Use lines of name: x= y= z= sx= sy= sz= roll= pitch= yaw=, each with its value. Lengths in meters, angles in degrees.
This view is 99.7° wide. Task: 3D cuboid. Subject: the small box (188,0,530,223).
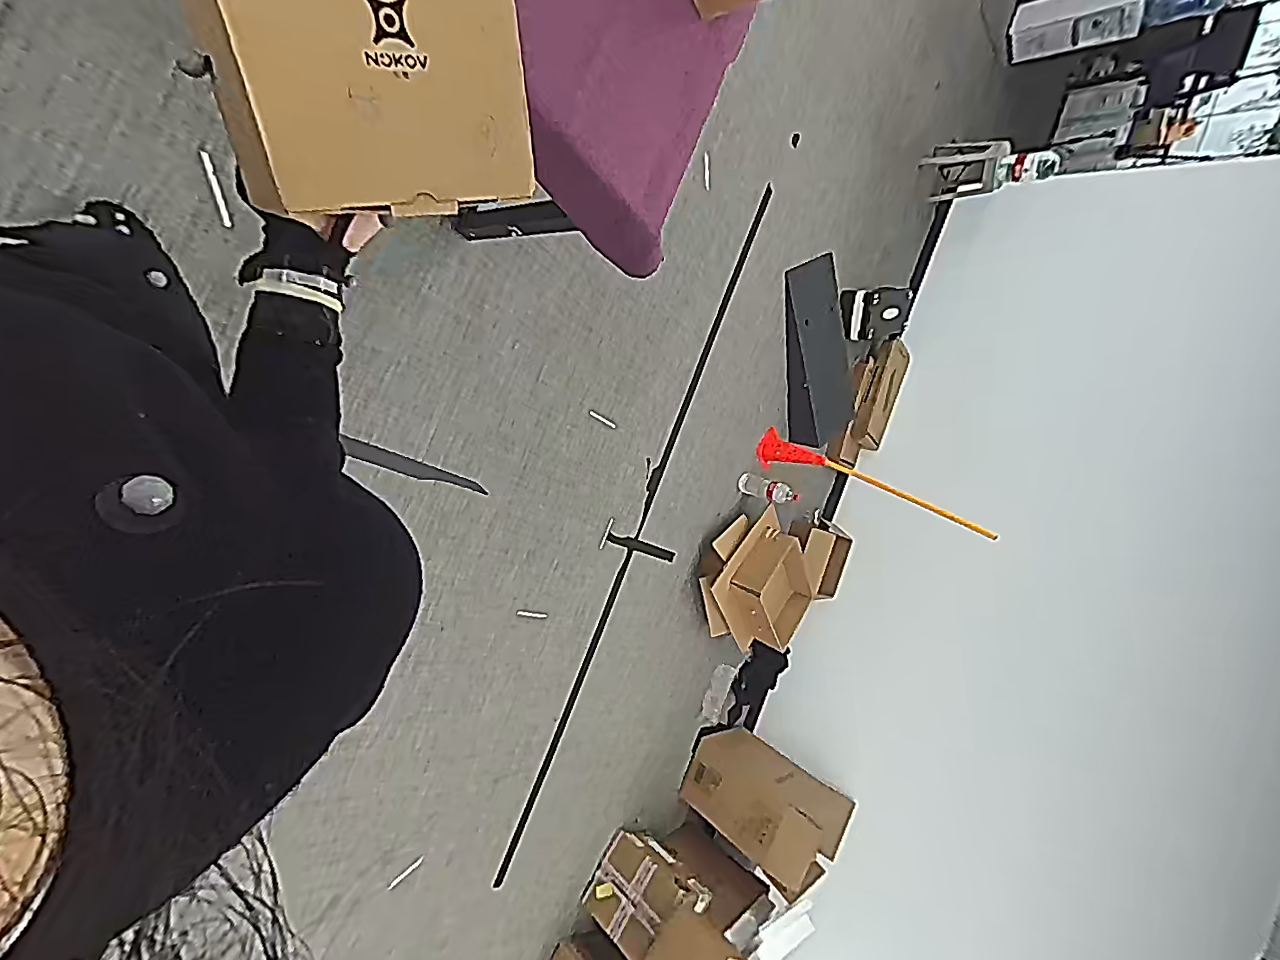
small box: x=-0.196 y=-0.288 z=0.378 sx=0.168 sy=0.176 sz=0.179 roll=-23 pitch=127 yaw=-32

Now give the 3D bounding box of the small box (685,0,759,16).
small box: x=0.156 y=-0.945 z=0.911 sx=0.168 sy=0.176 sz=0.179 roll=33 pitch=84 yaw=-49
